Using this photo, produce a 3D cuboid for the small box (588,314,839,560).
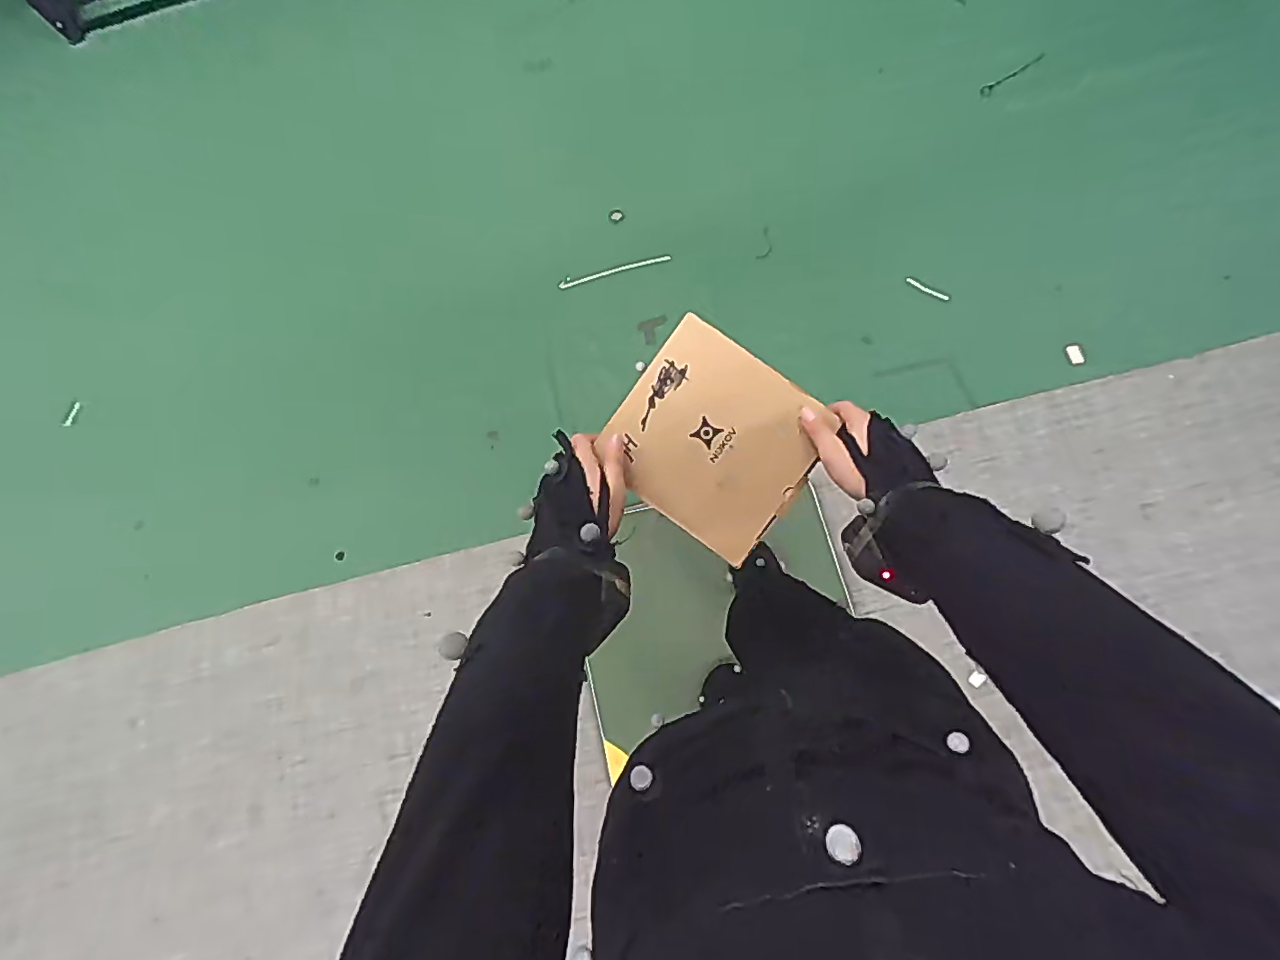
[{"bbox_3d":[0.070,-0.041,0.578,0.179,0.176,0.168,36,91,2],"label":"small box"}]
